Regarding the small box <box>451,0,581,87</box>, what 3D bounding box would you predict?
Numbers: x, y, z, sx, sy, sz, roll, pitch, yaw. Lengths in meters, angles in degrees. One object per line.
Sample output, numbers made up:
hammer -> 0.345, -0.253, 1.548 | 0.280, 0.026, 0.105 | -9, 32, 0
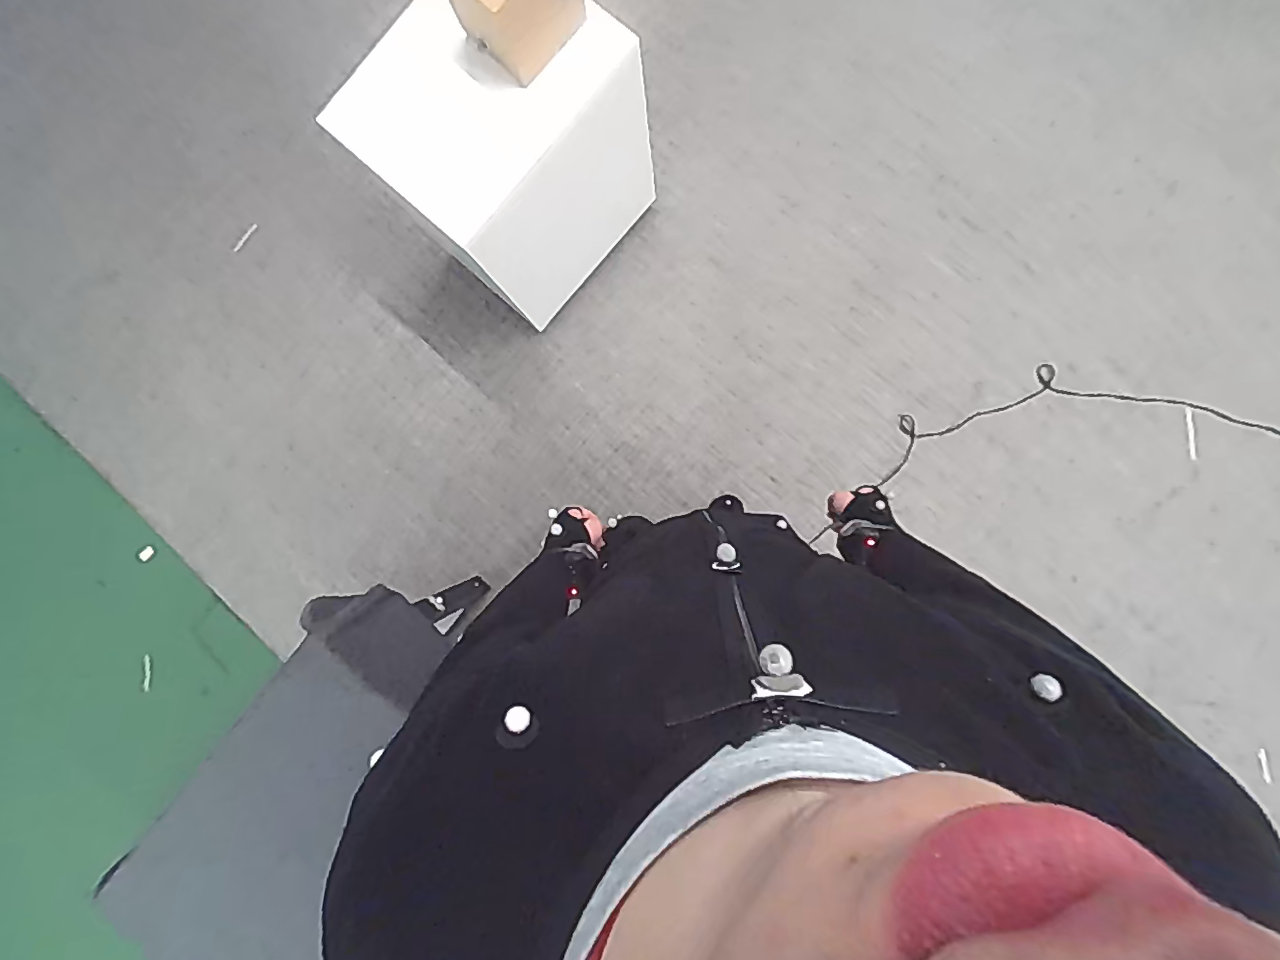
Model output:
small box -> -0.220, -0.845, 0.932 | 0.168, 0.176, 0.179 | 43, 94, 5
